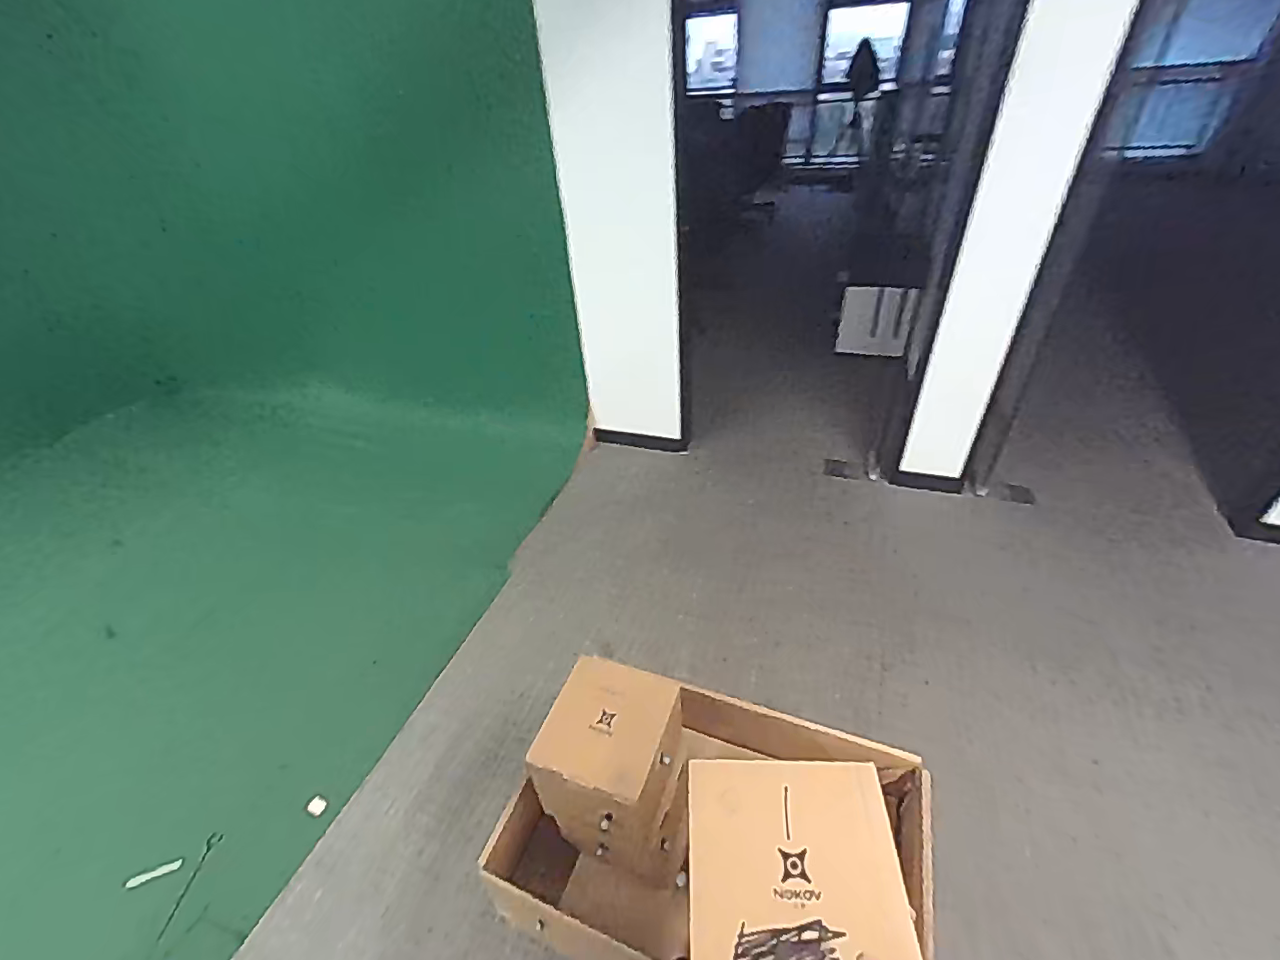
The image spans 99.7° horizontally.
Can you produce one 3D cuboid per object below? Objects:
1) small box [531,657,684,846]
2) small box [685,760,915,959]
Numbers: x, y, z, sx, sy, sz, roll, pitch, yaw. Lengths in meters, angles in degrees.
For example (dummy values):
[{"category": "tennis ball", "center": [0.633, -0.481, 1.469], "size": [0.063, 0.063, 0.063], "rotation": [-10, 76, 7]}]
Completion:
[{"category": "small box", "center": [-0.035, 0.405, 0.811], "size": [0.168, 0.176, 0.179], "rotation": [11, 40, 20]}, {"category": "small box", "center": [0.128, 0.370, 0.478], "size": [0.168, 0.176, 0.179], "rotation": [-3, 43, 7]}]
